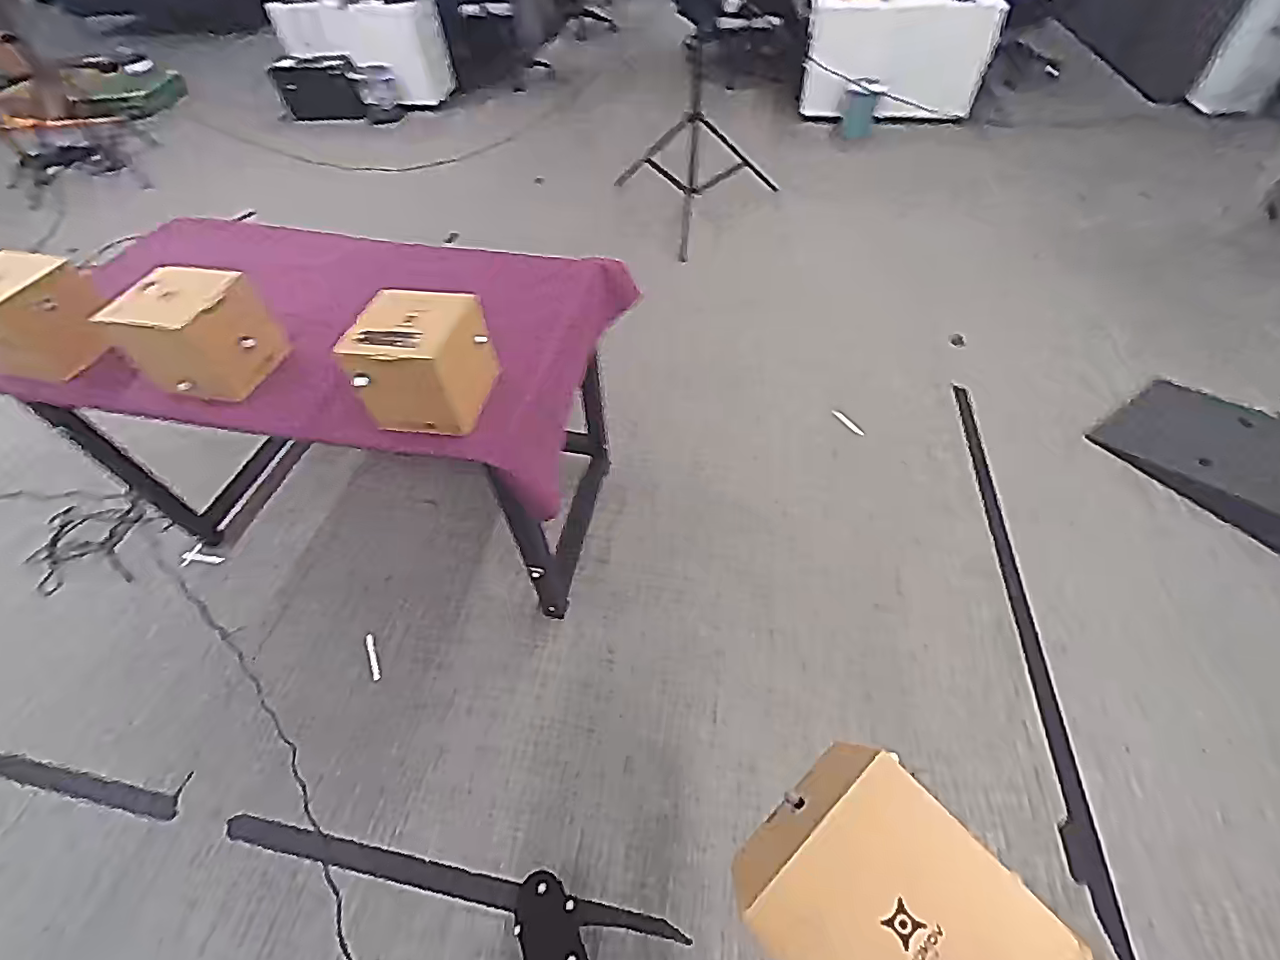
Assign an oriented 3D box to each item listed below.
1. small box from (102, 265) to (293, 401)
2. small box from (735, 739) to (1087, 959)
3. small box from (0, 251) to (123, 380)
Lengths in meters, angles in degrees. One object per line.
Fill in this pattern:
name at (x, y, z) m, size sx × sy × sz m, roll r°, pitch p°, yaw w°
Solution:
small box at (-0.793, -0.266, 0.995) m, size 0.179 × 0.176 × 0.168 m, roll 9°, pitch 53°, yaw 9°
small box at (0.196, 0.346, 0.453) m, size 0.168 × 0.176 × 0.179 m, roll -43°, pitch 69°, yaw -12°
small box at (-1.167, -0.317, 1.053) m, size 0.168 × 0.176 × 0.179 m, roll 9°, pitch 52°, yaw 8°
